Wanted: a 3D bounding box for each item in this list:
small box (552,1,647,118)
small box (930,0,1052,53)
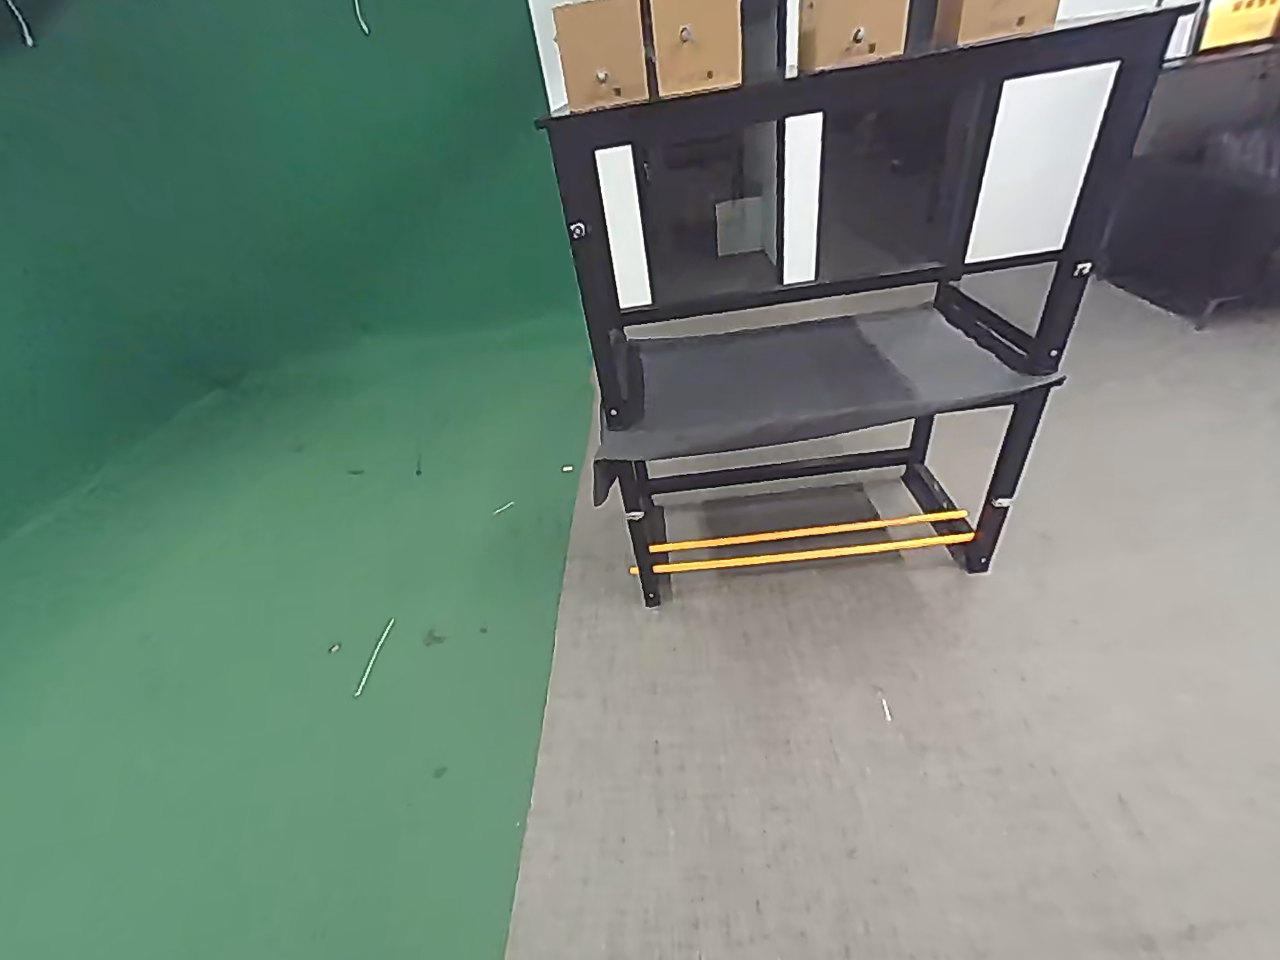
[{"bbox_3d":[-0.078,-0.867,1.125,0.168,0.176,0.179,-8,37,3],"label":"small box"},{"bbox_3d":[0.677,-0.942,1.038,0.168,0.176,0.179,-1,37,12],"label":"small box"}]
